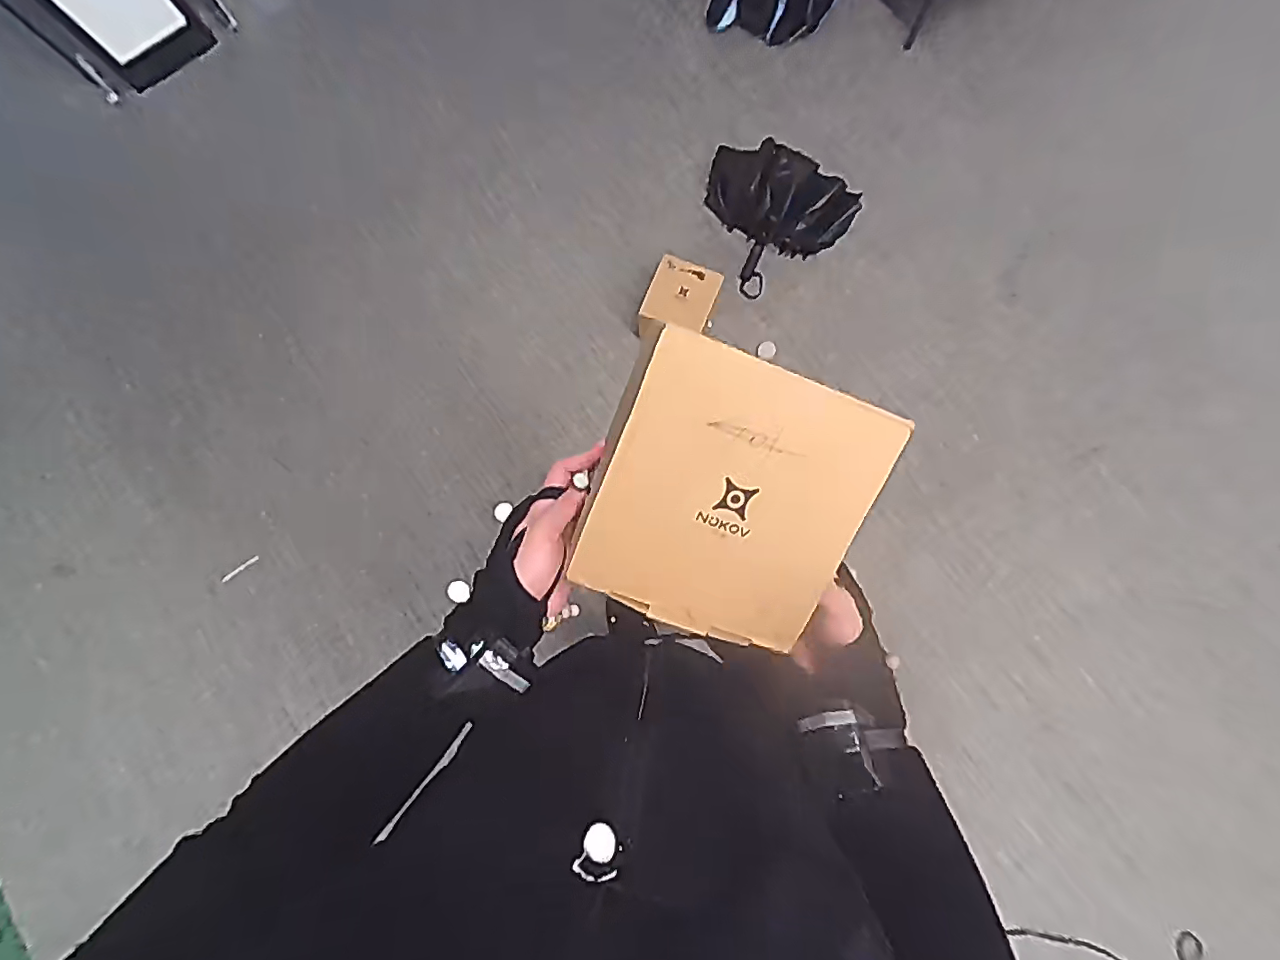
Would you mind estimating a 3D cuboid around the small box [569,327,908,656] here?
[{"bbox_3d":[0.057,-0.005,0.416,0.168,0.176,0.179,20,104,-8],"label":"small box"}]
